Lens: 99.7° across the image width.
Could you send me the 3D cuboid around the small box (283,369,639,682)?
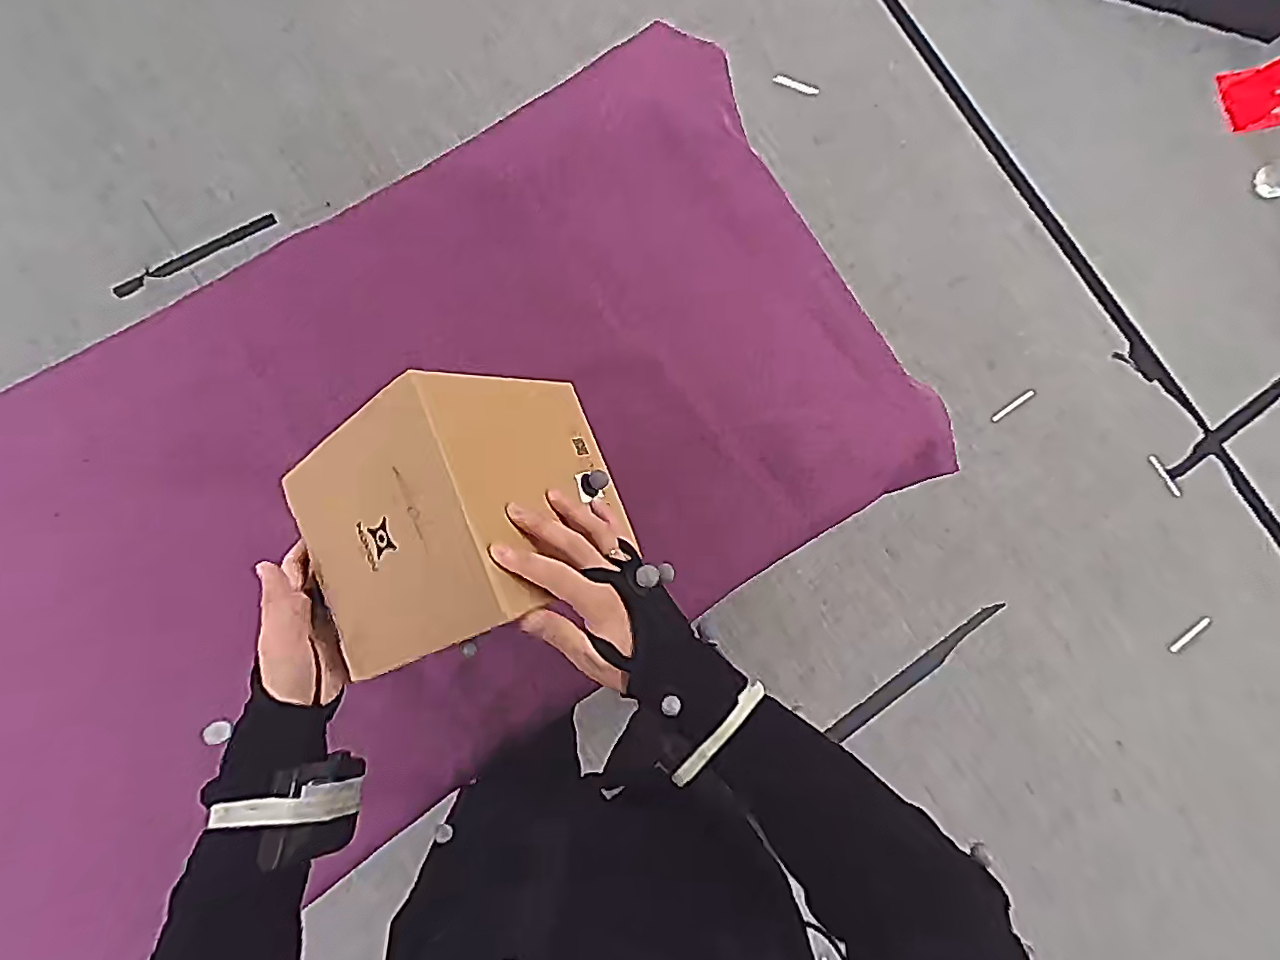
[{"bbox_3d":[-0.132,0.031,0.428,0.179,0.176,0.168,-28,84,29],"label":"small box"}]
